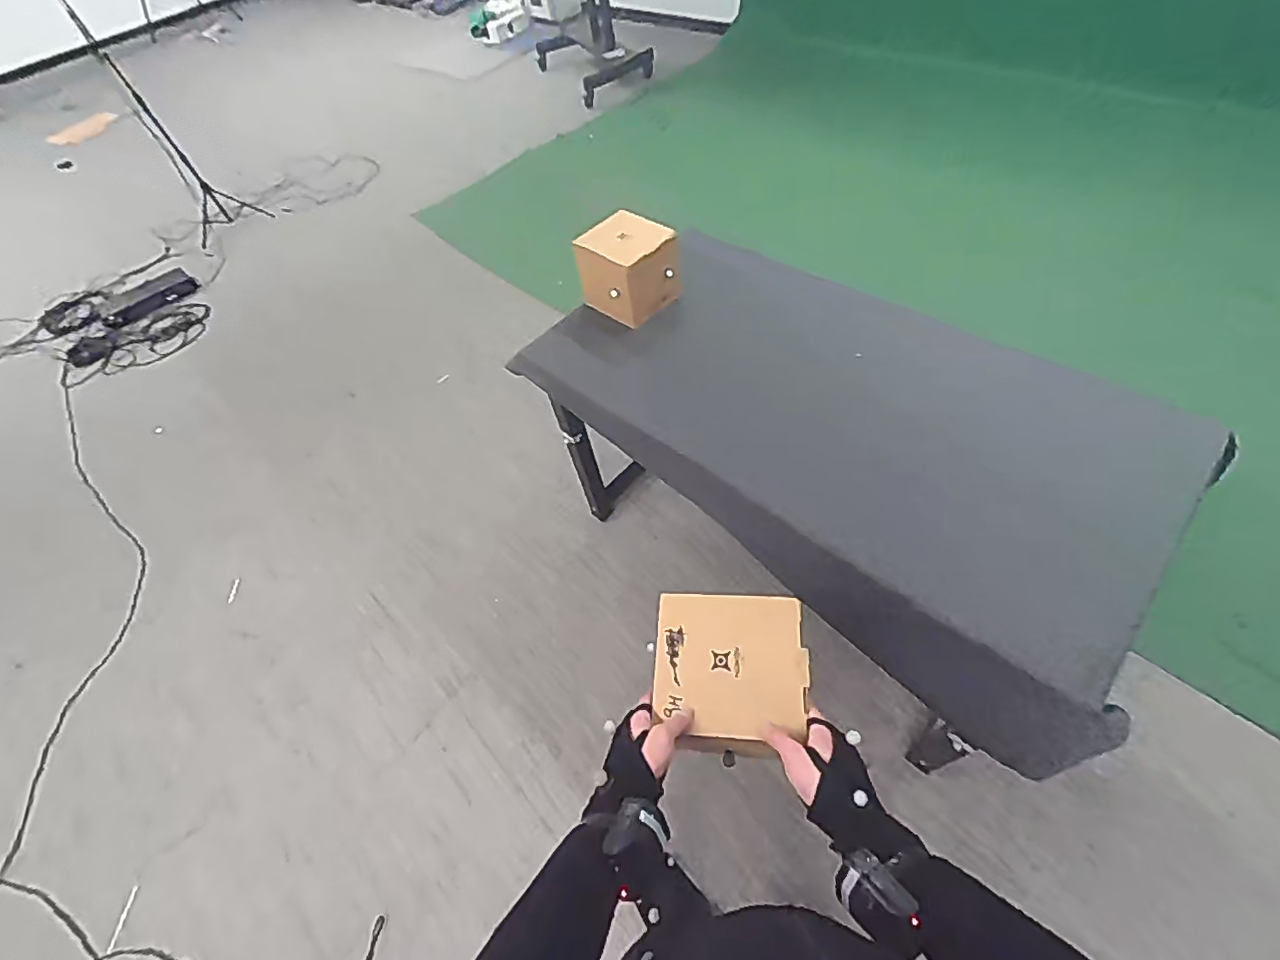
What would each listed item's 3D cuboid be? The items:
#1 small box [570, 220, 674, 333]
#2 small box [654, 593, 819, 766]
[{"bbox_3d":[-0.033,-0.470,1.259,0.179,0.176,0.168,33,61,28],"label":"small box"},{"bbox_3d":[0.115,0.256,0.683,0.179,0.176,0.168,2,56,7],"label":"small box"}]
